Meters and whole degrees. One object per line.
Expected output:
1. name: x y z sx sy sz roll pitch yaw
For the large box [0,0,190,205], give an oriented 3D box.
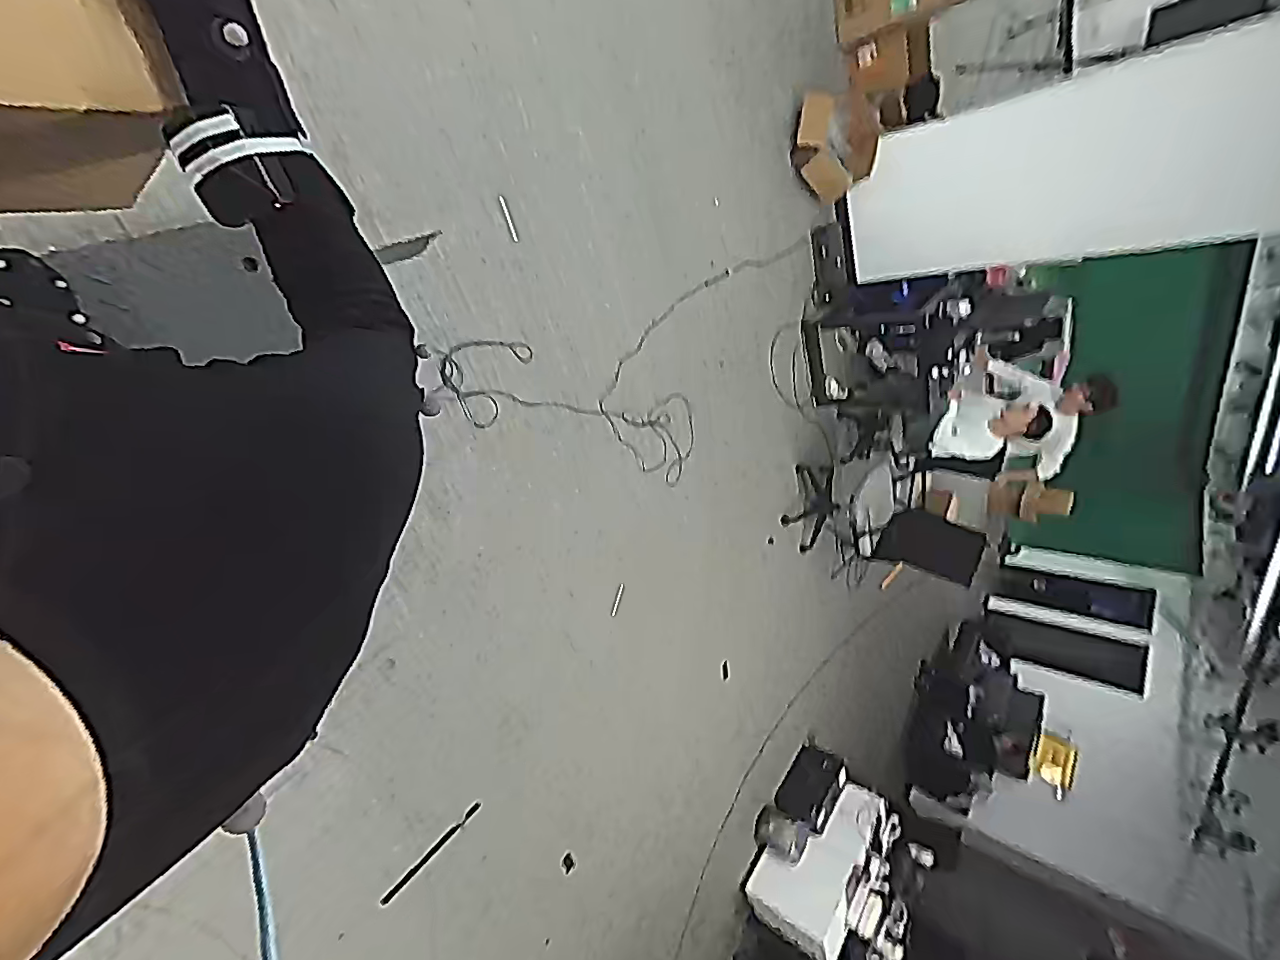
1. large box: -0.578 -0.343 0.290 0.408 0.320 0.320 -30 119 -43
